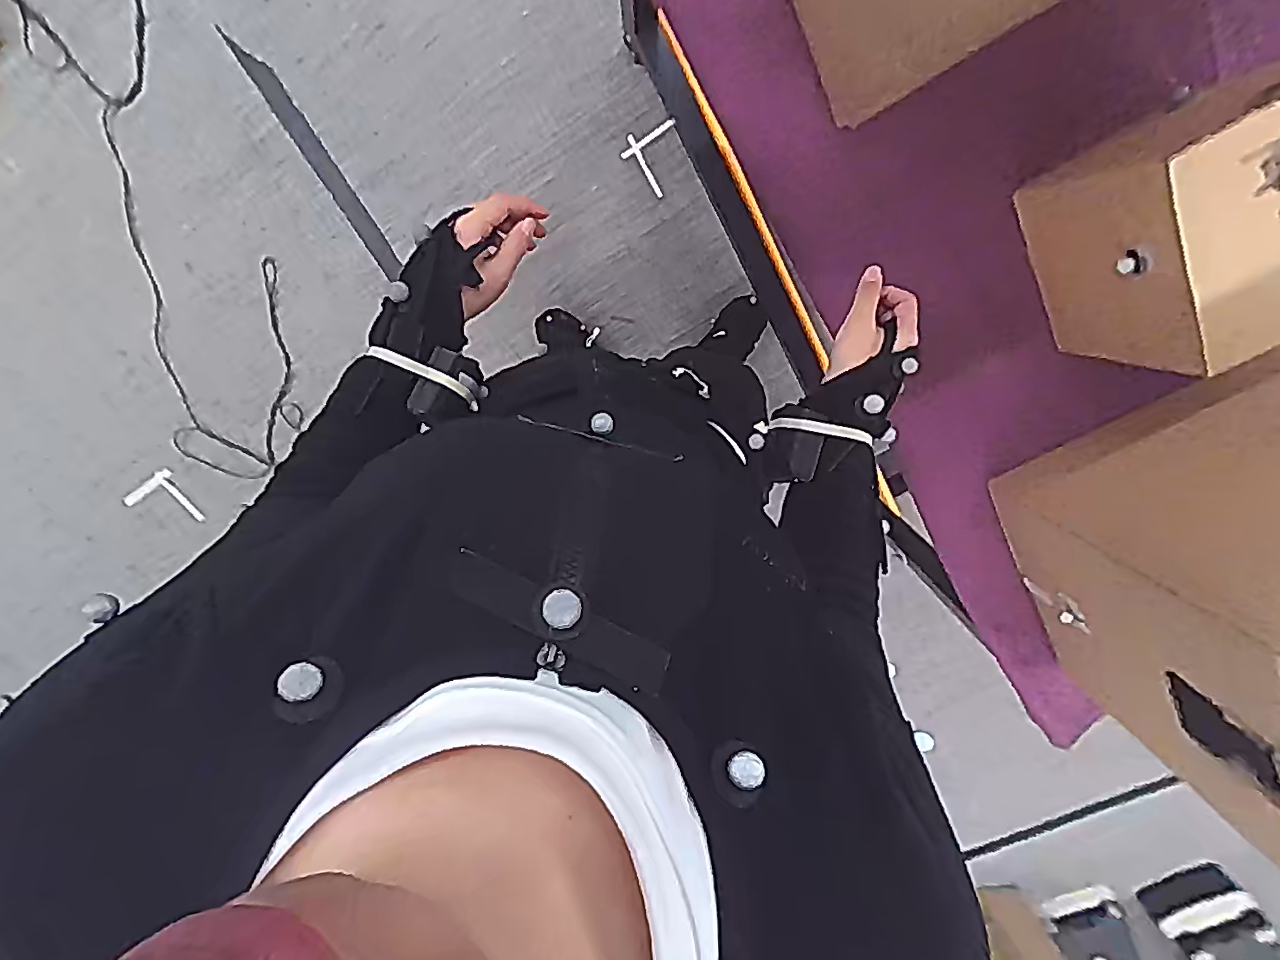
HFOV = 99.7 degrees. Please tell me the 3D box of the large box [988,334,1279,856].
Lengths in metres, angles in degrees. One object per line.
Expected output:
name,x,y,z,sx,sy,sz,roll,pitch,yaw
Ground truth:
large box,0.642,0.078,0.493,0.408,0.320,0.320,-30,108,9
